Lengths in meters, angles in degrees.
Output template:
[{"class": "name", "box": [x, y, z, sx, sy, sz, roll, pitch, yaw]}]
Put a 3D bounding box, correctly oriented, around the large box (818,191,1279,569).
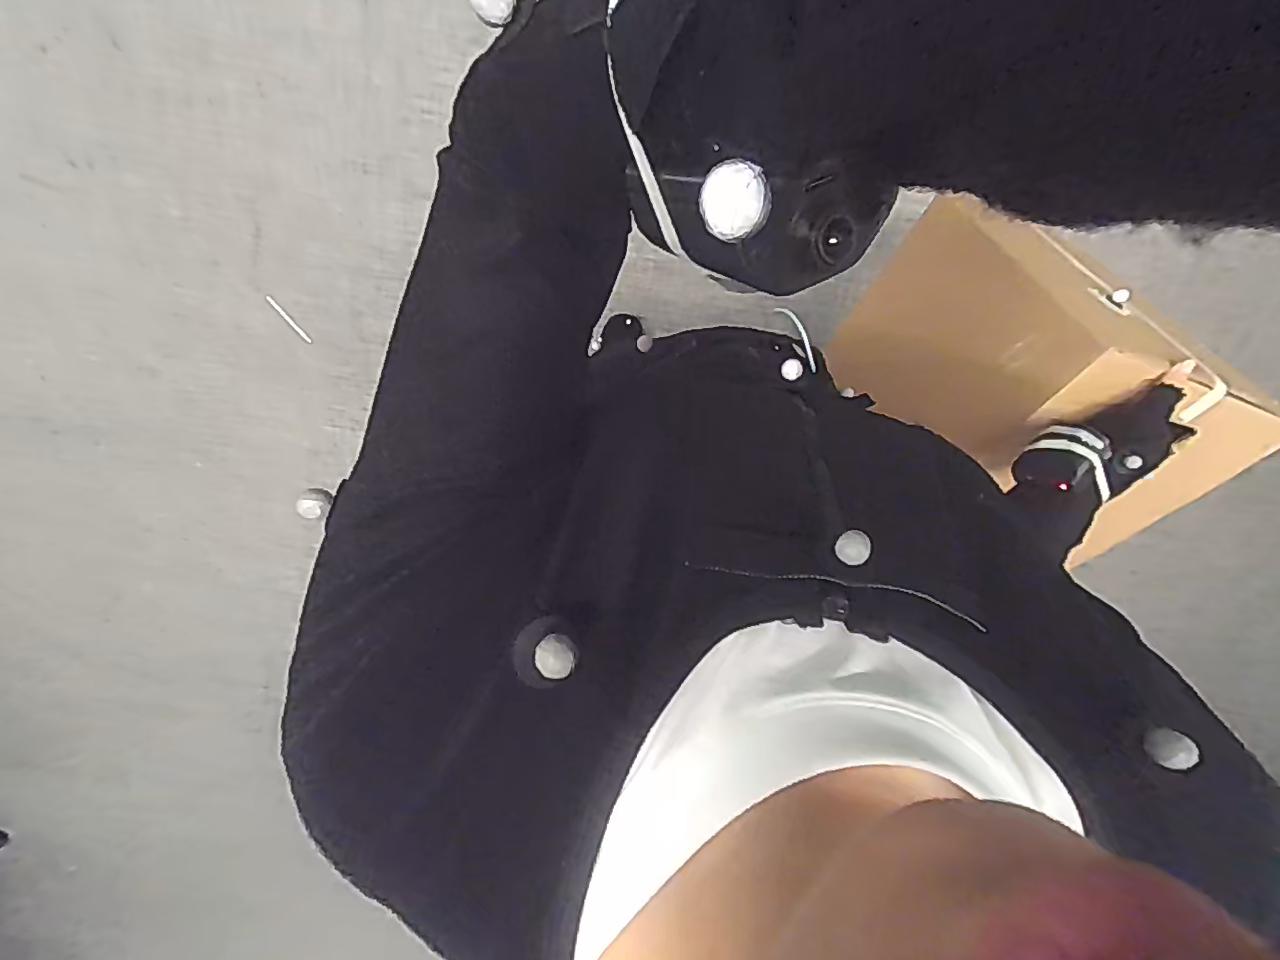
[{"class": "large box", "box": [0.517, -0.138, 0.785, 0.320, 0.408, 0.320, 12, 137, -16]}]
